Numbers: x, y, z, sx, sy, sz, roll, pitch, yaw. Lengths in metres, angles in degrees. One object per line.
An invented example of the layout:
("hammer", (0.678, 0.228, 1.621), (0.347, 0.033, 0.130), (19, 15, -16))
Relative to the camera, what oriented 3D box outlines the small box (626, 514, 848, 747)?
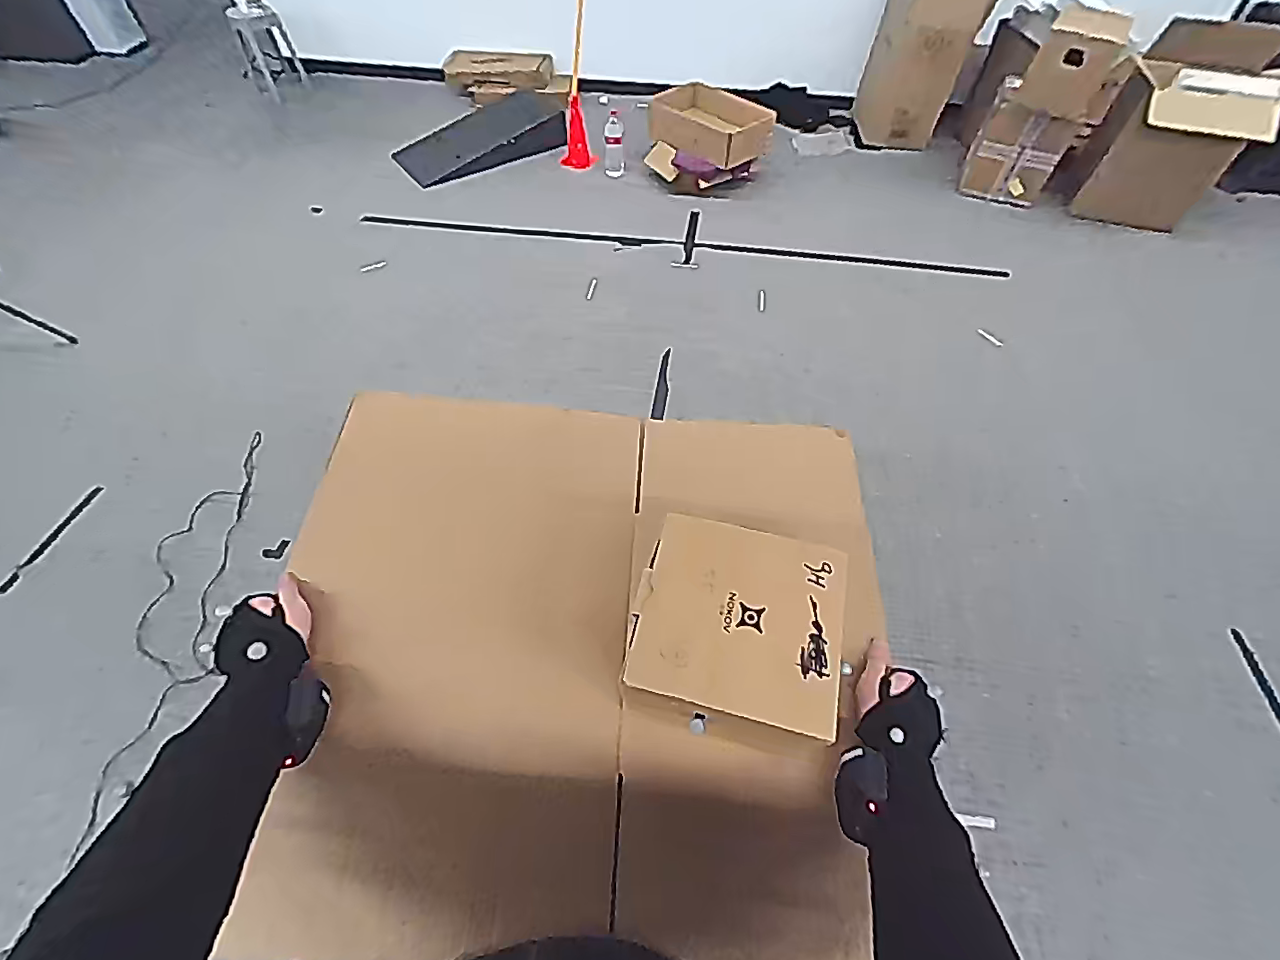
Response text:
("small box", (0.094, 0.158, 0.549), (0.179, 0.176, 0.168), (12, 60, 9))
